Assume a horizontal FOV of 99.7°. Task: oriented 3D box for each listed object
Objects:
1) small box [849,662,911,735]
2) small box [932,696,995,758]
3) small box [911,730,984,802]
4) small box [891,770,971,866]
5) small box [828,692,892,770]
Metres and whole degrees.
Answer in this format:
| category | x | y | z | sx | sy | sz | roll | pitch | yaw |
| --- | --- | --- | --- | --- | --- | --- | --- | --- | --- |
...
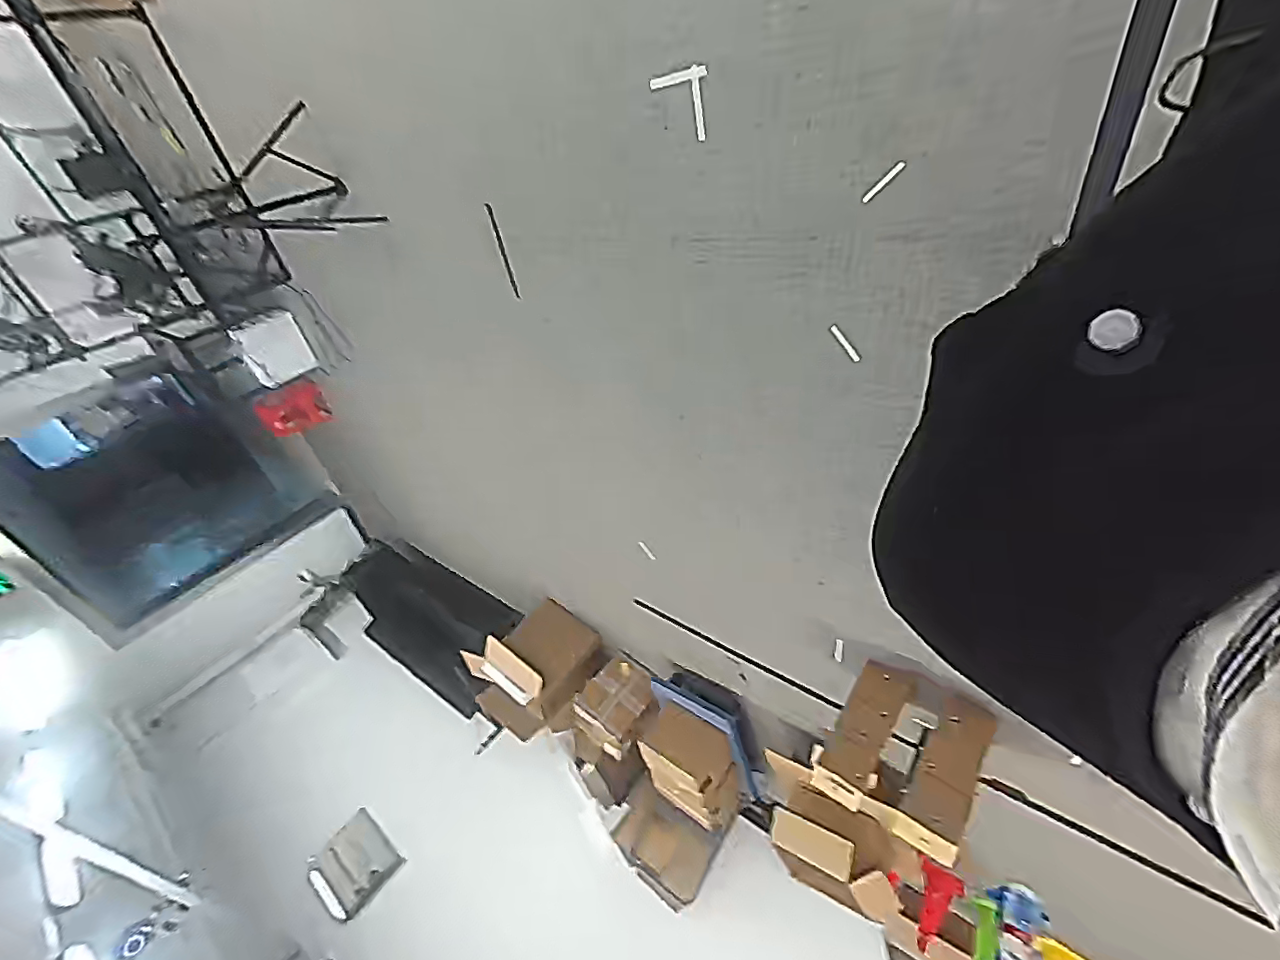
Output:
| category | x | y | z | sx | sy | sz | roll | pitch | yaw |
| --- | --- | --- | --- | --- | --- | --- | --- | --- | --- |
| small box | 0.929 | 0.845 | 2.116 | 0.179 | 0.176 | 0.168 | 24 | 139 | 32 |
| small box | 1.151 | 0.916 | 1.940 | 0.168 | 0.176 | 0.179 | 20 | 138 | 37 |
| small box | 1.047 | 0.998 | 1.847 | 0.179 | 0.176 | 0.168 | 21 | 137 | 36 |
| small box | 0.946 | 1.090 | 1.756 | 0.179 | 0.176 | 0.168 | 22 | 137 | 37 |
| small box | 0.823 | 0.931 | 2.021 | 0.168 | 0.176 | 0.179 | 23 | 139 | 33 |
